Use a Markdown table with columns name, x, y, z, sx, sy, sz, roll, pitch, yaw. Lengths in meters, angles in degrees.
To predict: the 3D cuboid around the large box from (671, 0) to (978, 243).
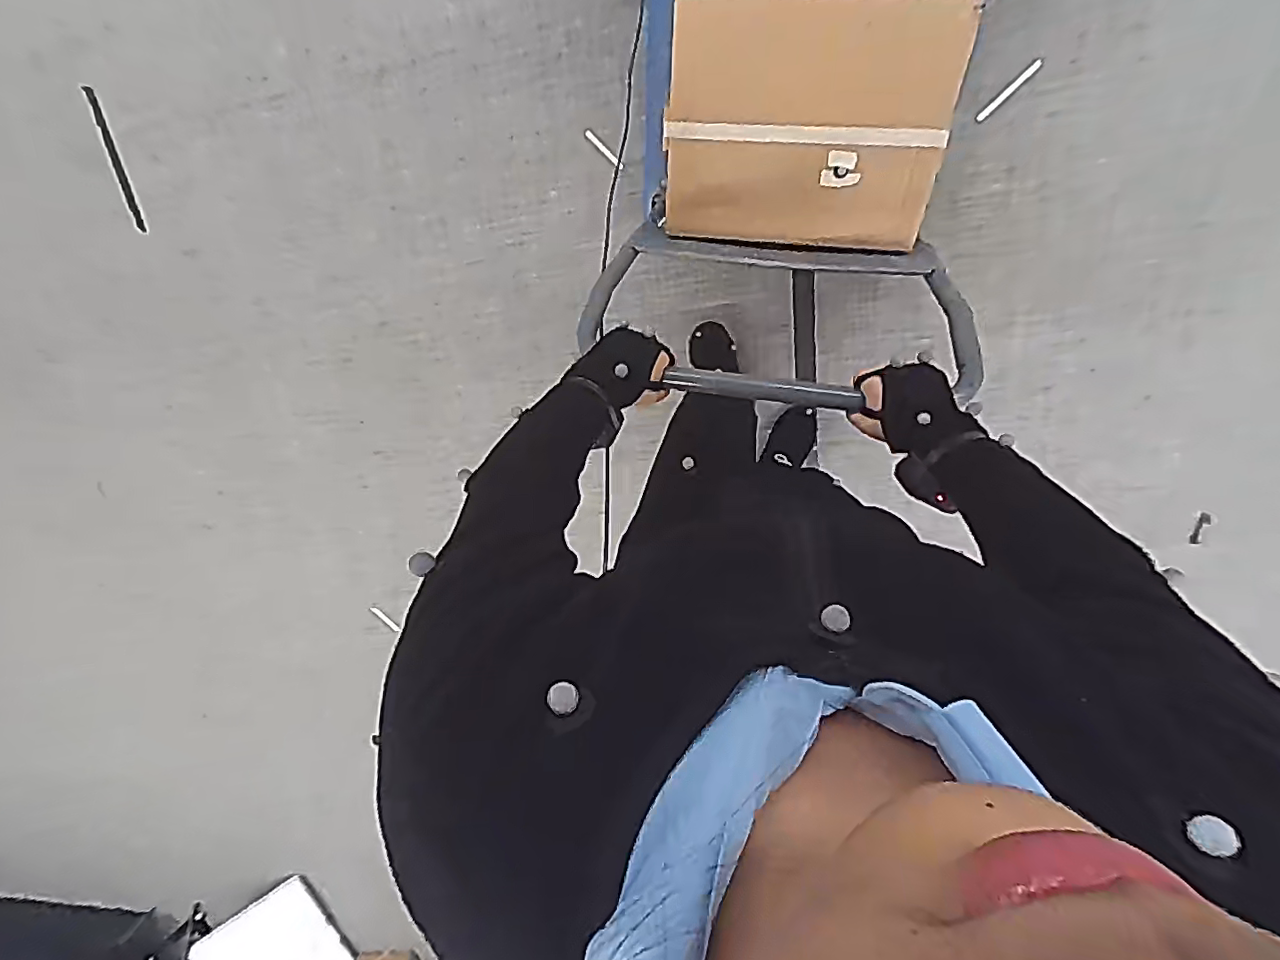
| name | x | y | z | sx | sy | sz | roll | pitch | yaw |
| --- | --- | --- | --- | --- | --- | --- | --- | --- | --- |
| large box | 0.274 | -0.616 | 0.937 | 0.408 | 0.320 | 0.320 | 7 | 128 | 9 |
